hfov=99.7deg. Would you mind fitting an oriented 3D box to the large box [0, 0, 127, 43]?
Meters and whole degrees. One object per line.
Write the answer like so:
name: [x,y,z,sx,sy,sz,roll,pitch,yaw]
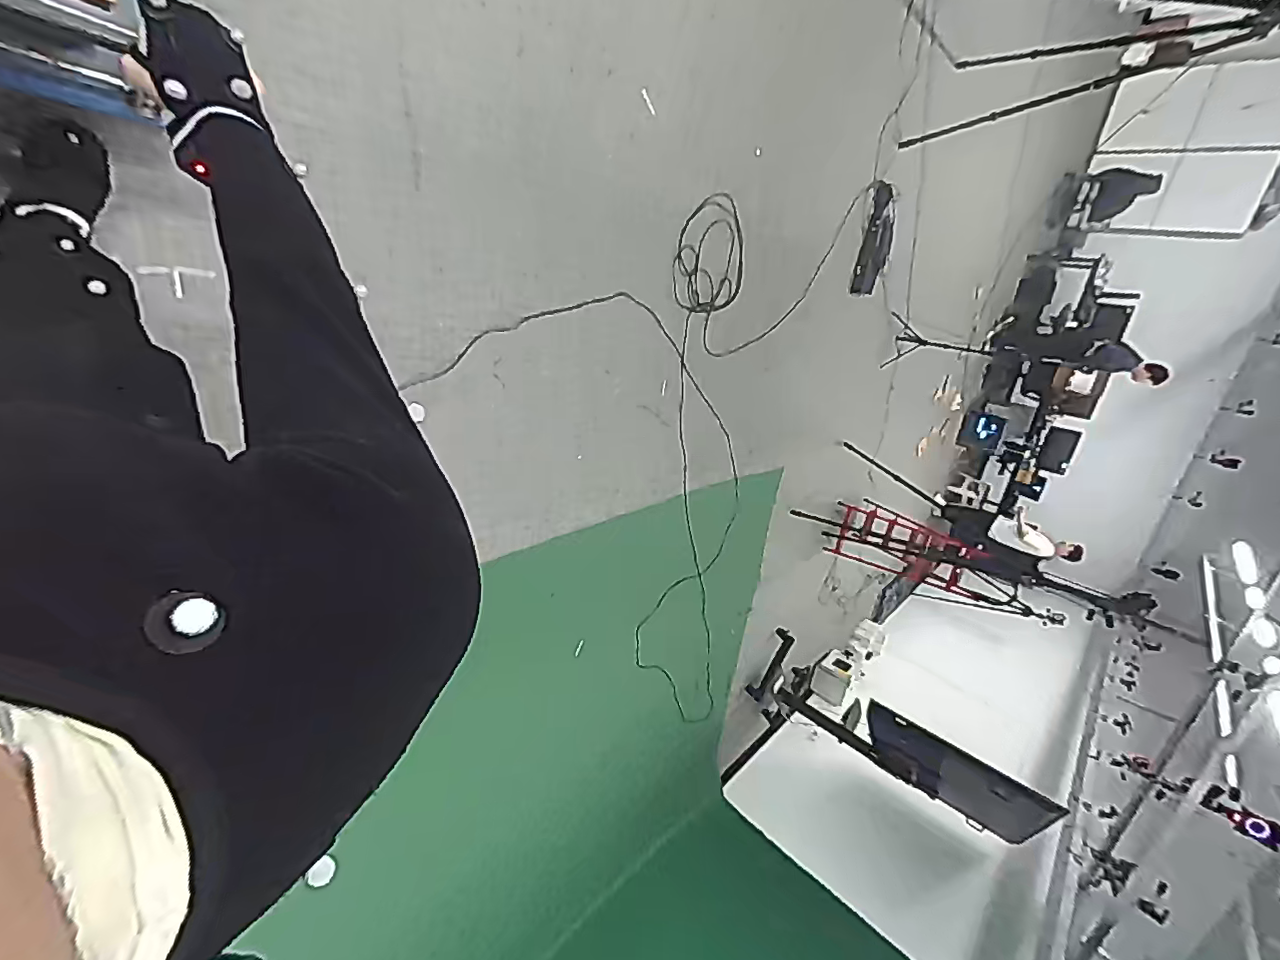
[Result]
large box: [-0.848,-0.840,0.635,0.320,0.320,0.408,-9,115,-47]
